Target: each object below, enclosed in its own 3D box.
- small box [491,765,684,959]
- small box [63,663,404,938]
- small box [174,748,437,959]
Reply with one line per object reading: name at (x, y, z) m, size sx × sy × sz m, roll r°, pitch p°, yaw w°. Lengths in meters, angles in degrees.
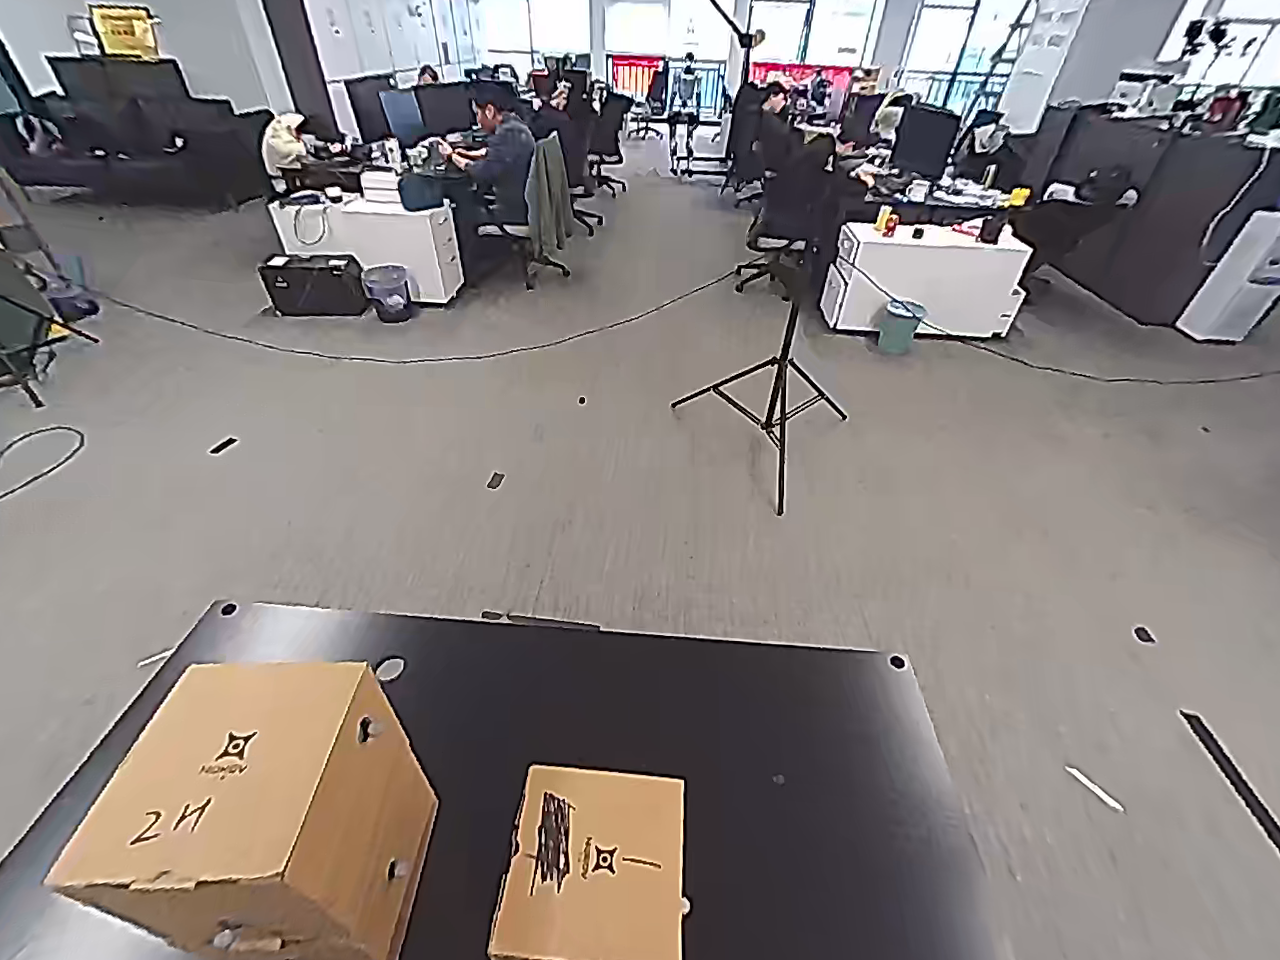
small box at (-0.046, 0.442, 0.597) m, size 0.179 × 0.176 × 0.168 m, roll 4°, pitch 39°, yaw 2°
small box at (-0.340, 0.294, 0.505) m, size 0.168 × 0.176 × 0.179 m, roll 0°, pitch 39°, yaw -2°
small box at (-0.345, 0.425, 0.607) m, size 0.168 × 0.176 × 0.179 m, roll 1°, pitch 40°, yaw -1°
